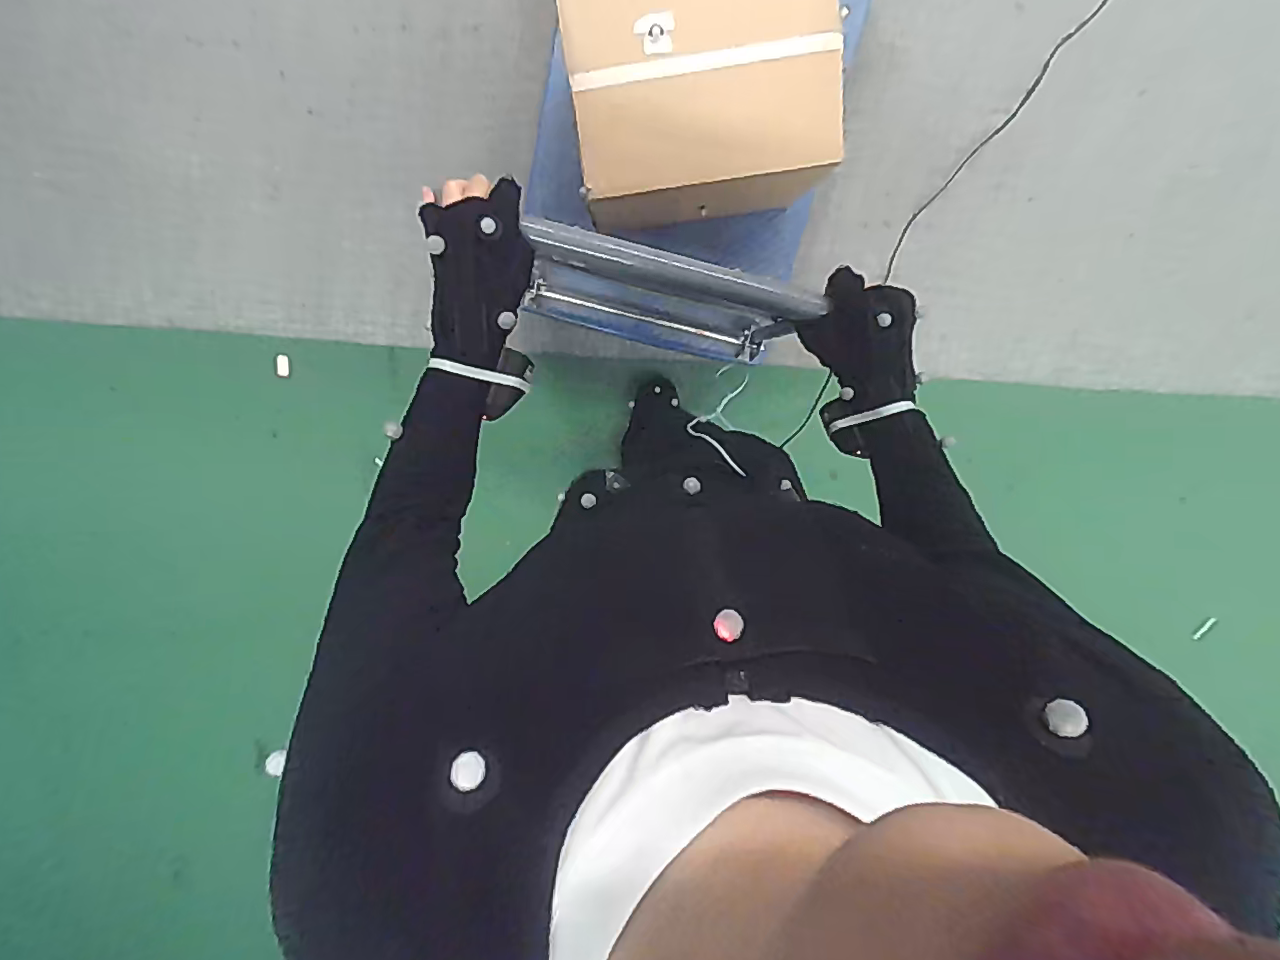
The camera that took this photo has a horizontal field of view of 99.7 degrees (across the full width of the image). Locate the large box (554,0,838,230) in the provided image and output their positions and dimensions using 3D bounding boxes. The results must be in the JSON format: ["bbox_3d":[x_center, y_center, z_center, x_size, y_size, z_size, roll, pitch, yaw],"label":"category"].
[{"bbox_3d":[0.092,-0.659,0.953,0.408,0.320,0.320,-8,105,2],"label":"large box"}]
